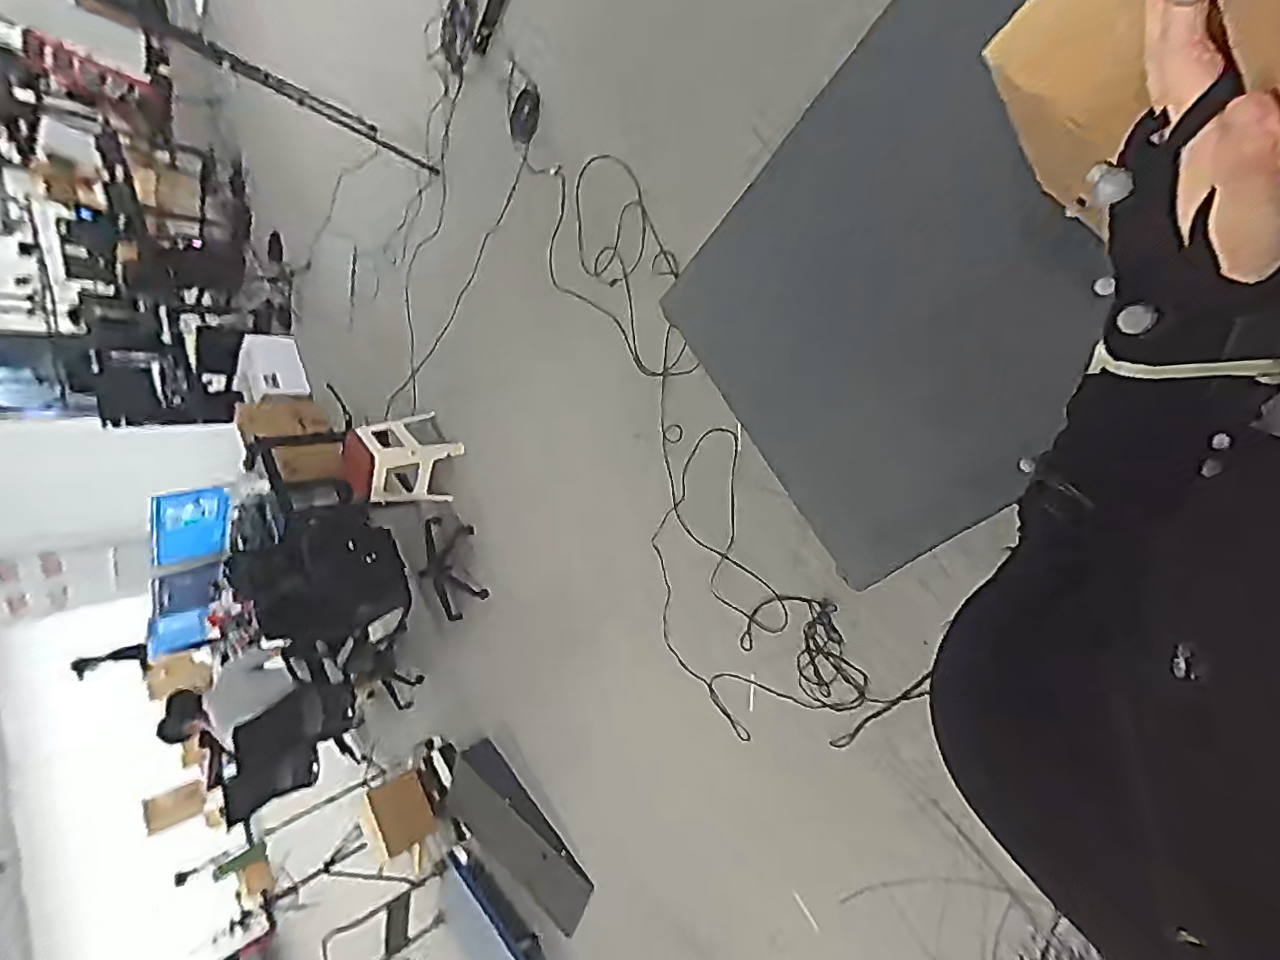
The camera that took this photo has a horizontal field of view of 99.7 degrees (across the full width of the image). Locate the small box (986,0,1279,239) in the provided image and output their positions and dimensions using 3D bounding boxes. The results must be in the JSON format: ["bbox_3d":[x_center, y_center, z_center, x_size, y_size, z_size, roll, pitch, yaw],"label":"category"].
[{"bbox_3d":[0.380,-0.291,0.360,0.168,0.176,0.179,-48,65,37],"label":"small box"}]

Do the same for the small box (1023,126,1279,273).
[{"bbox_3d":[0.490,-0.309,0.478,0.168,0.176,0.179,-48,64,37],"label":"small box"}]
